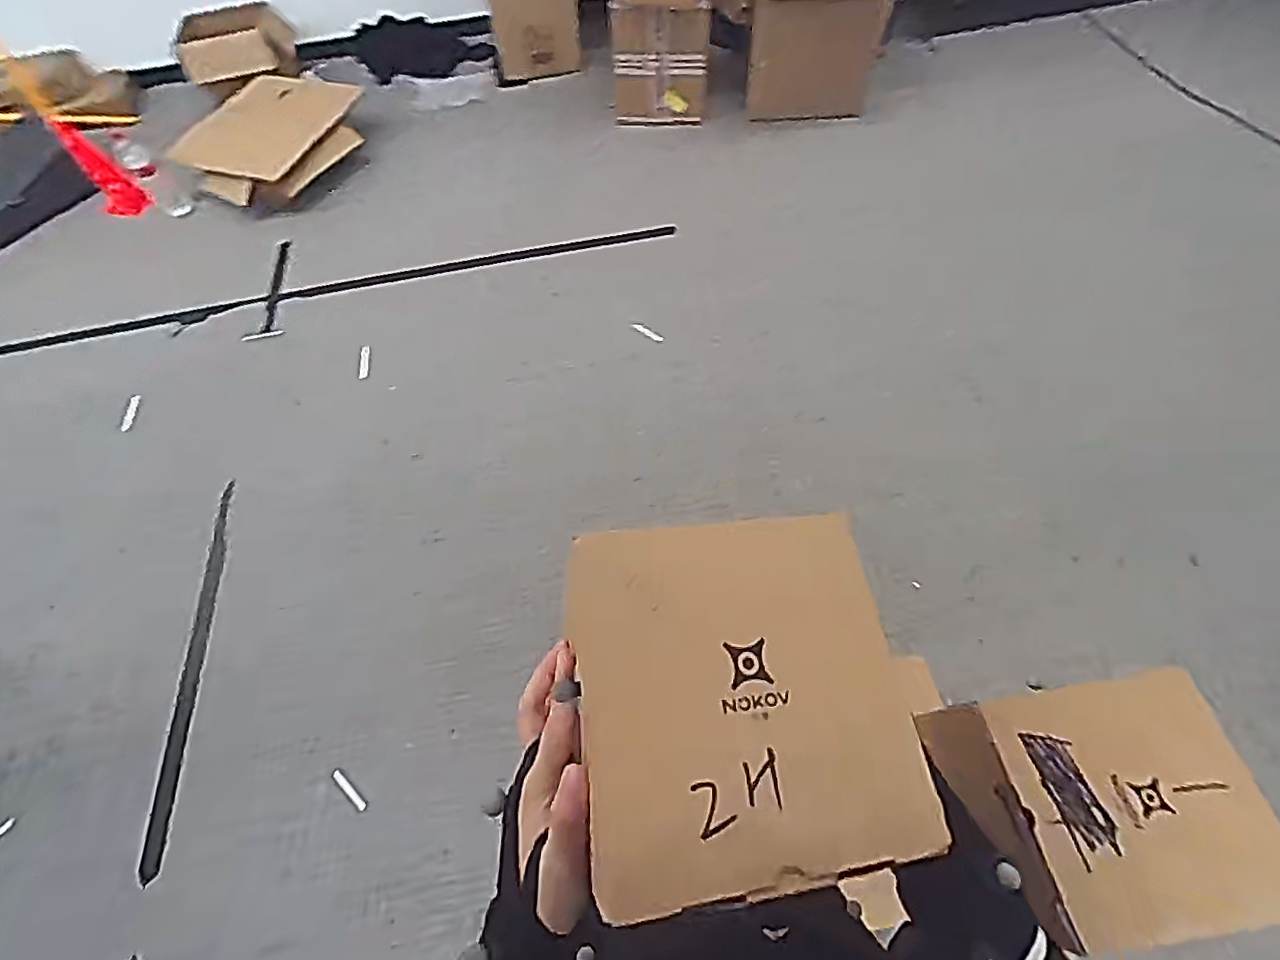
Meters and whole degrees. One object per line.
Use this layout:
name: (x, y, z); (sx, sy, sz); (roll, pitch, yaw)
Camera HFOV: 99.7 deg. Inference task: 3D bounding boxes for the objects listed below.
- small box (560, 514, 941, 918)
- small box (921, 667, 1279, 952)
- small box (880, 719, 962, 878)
small box: (0.039, 0.138, 0.345); (0.168, 0.176, 0.179); (-4, 63, -11)
small box: (0.374, 0.274, 0.471); (0.179, 0.176, 0.168); (-9, 61, 0)
small box: (0.403, 0.430, 0.758); (0.179, 0.176, 0.168); (-12, 61, 0)
